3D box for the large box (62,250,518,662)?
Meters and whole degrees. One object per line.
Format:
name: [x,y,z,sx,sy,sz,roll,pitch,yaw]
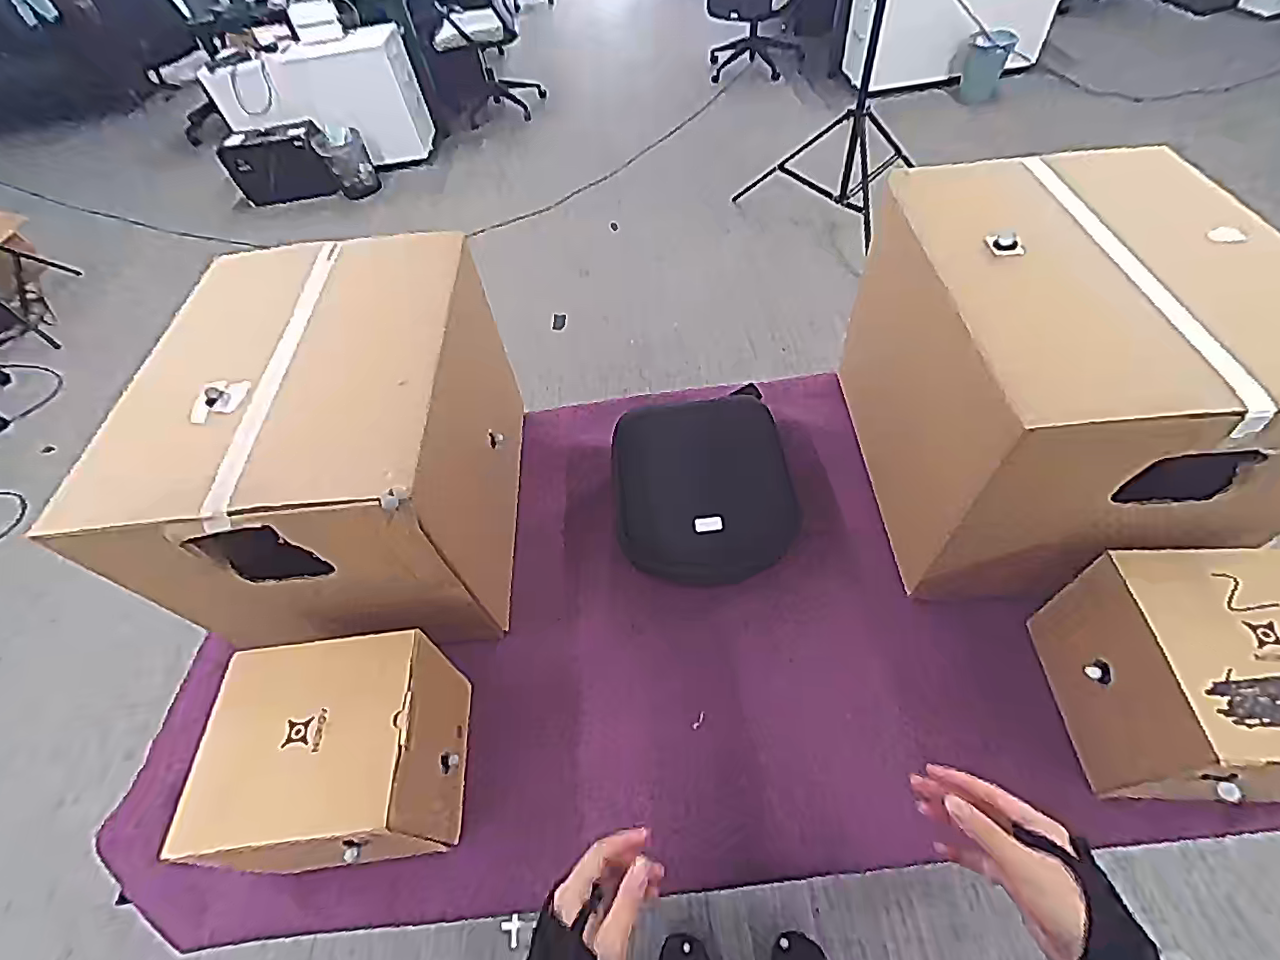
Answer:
large box: [-0.344,-0.027,0.684,0.320,0.320,0.408,-7,55,1]
